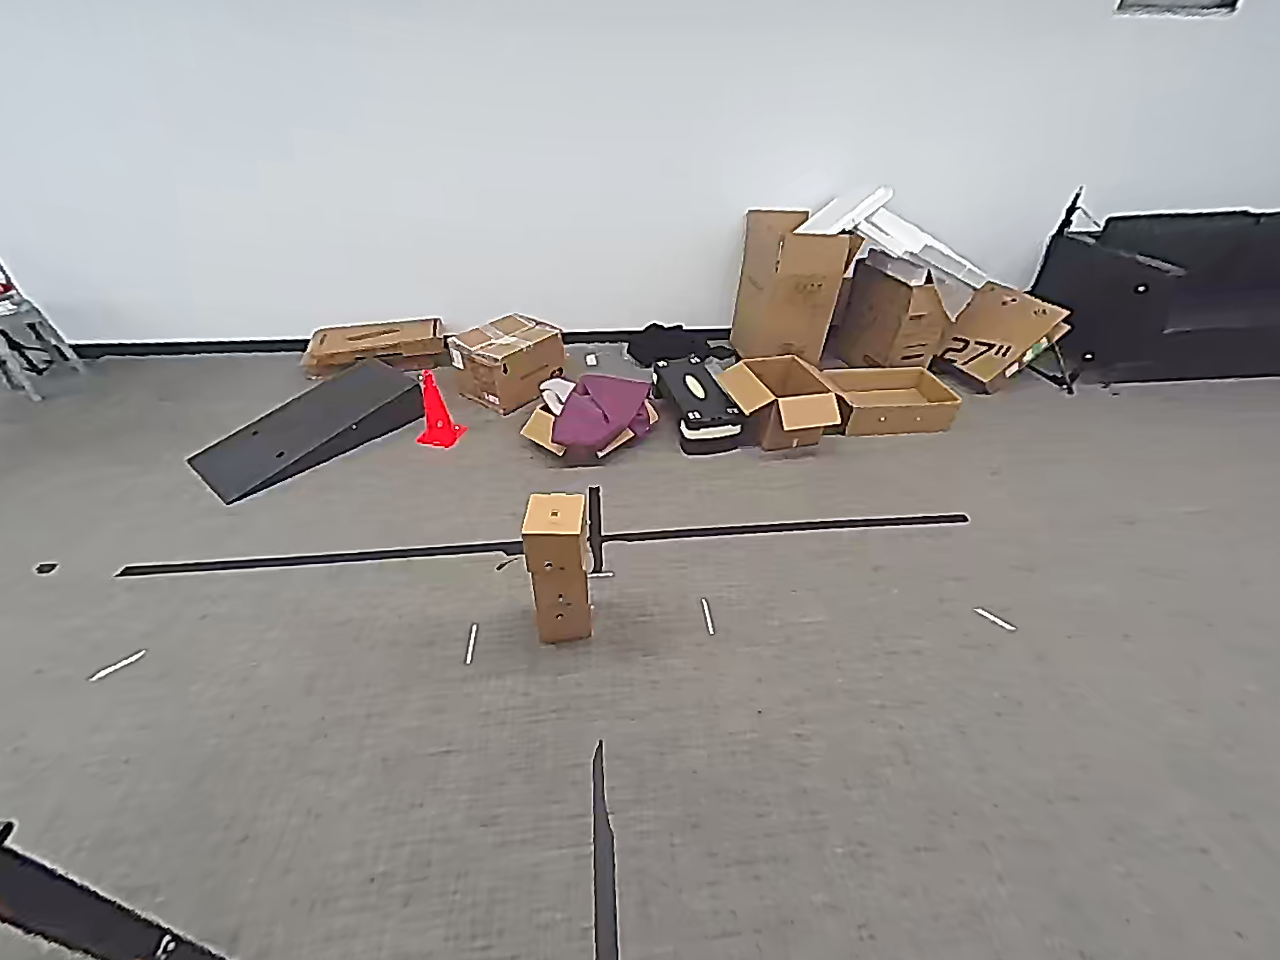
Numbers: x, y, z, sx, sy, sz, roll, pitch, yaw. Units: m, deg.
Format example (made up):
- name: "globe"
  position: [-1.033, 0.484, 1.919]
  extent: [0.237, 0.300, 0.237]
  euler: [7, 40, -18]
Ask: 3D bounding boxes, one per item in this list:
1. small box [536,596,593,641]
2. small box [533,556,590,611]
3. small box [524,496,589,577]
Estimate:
- name: "small box"
  position: [-0.253, 0.420, 1.807]
  extent: [0.179, 0.176, 0.168]
  euler: [-5, 38, -9]
- name: "small box"
  position: [-0.244, 0.289, 1.708]
  extent: [0.168, 0.176, 0.179]
  euler: [-3, 38, -5]
- name: "small box"
  position: [-0.241, 0.165, 1.603]
  extent: [0.168, 0.176, 0.179]
  euler: [0, 39, 0]
